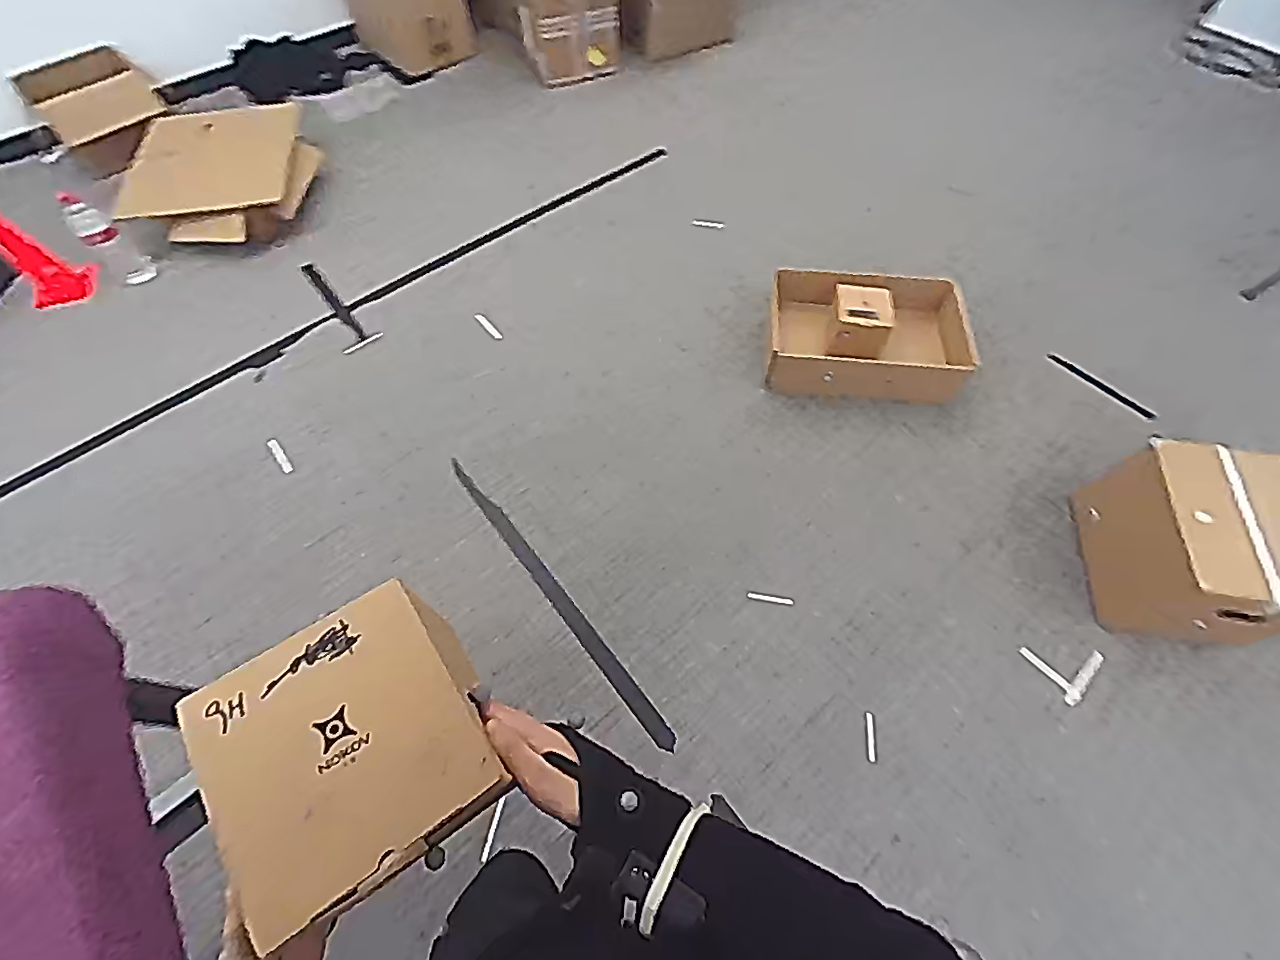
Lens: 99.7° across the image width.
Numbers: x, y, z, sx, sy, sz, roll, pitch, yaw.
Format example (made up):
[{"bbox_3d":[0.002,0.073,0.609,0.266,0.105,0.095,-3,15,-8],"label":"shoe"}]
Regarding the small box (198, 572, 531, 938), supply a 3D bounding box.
[{"bbox_3d":[-0.203,0.209,0.447,0.168,0.176,0.179,-29,70,-19],"label":"small box"}]
